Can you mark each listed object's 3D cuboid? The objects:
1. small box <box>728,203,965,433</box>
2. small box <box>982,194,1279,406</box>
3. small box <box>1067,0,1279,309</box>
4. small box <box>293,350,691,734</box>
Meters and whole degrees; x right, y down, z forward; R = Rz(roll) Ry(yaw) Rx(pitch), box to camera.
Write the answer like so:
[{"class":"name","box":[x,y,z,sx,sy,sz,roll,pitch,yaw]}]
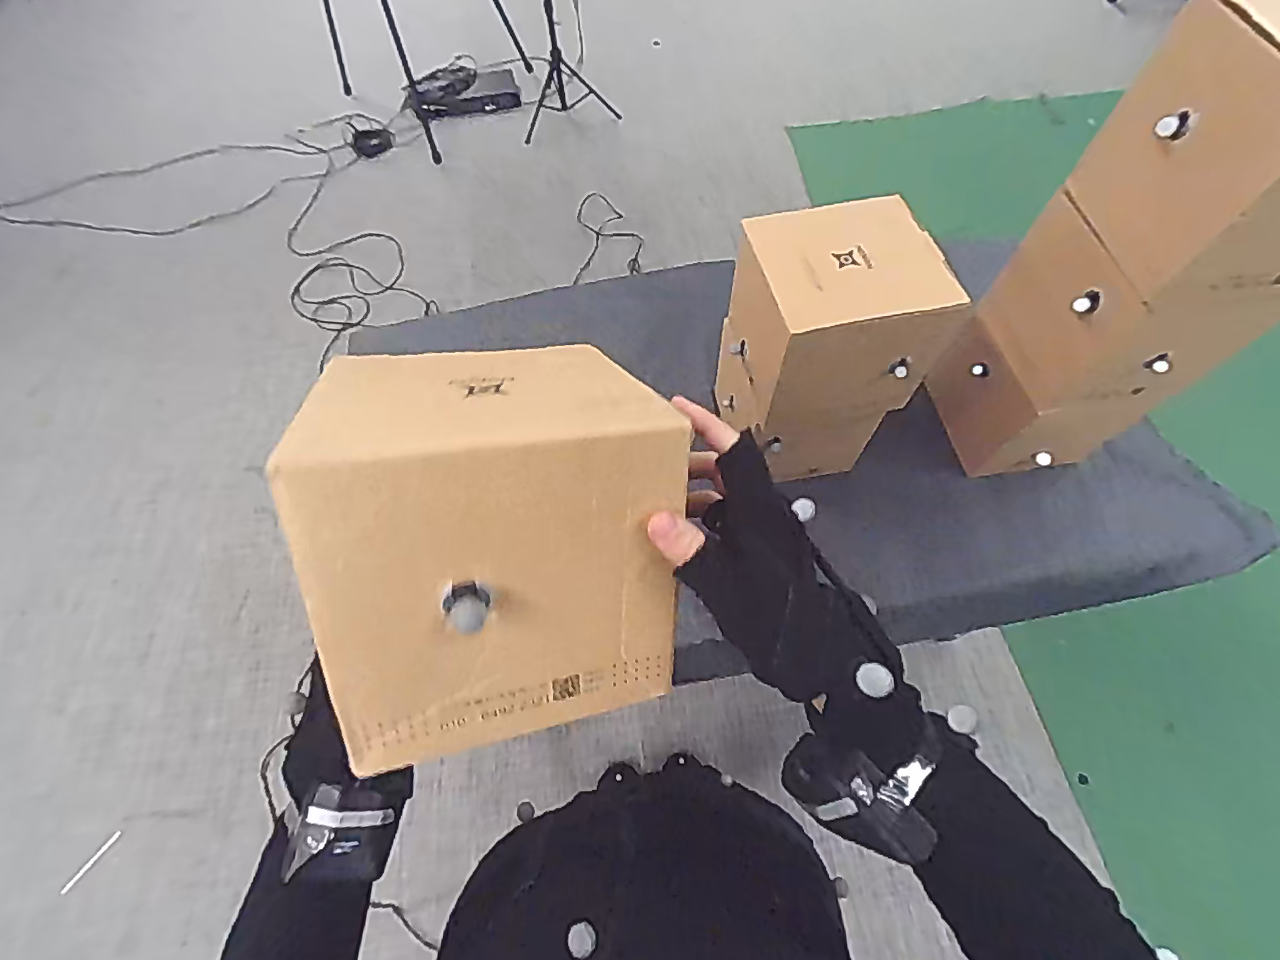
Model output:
[{"class":"small box","box":[0.210,-0.174,0.607,0.179,0.176,0.168,-10,61,-3]},{"class":"small box","box":[0.530,-0.197,0.604,0.168,0.176,0.179,-6,62,-1]},{"class":"small box","box":[0.522,-0.272,0.458,0.168,0.176,0.179,-5,61,1]},{"class":"small box","box":[-0.080,0.023,0.325,0.168,0.176,0.179,-6,23,-19]}]
